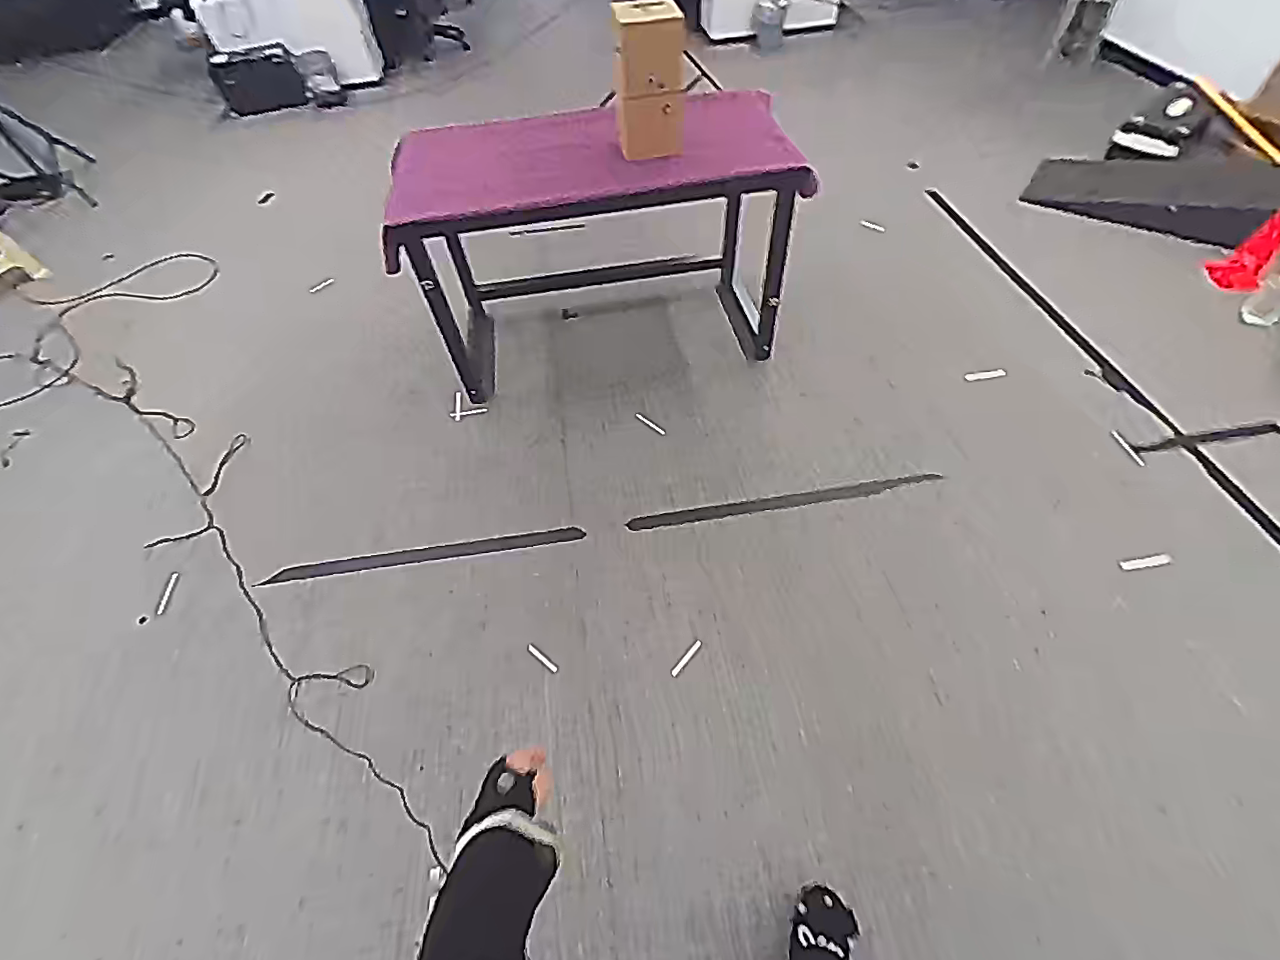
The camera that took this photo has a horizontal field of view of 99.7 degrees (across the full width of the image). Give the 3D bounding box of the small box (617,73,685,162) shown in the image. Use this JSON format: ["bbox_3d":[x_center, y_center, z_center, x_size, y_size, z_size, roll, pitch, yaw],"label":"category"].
[{"bbox_3d":[0.033,-1.080,1.614,0.179,0.176,0.168,-10,53,-3],"label":"small box"}]
